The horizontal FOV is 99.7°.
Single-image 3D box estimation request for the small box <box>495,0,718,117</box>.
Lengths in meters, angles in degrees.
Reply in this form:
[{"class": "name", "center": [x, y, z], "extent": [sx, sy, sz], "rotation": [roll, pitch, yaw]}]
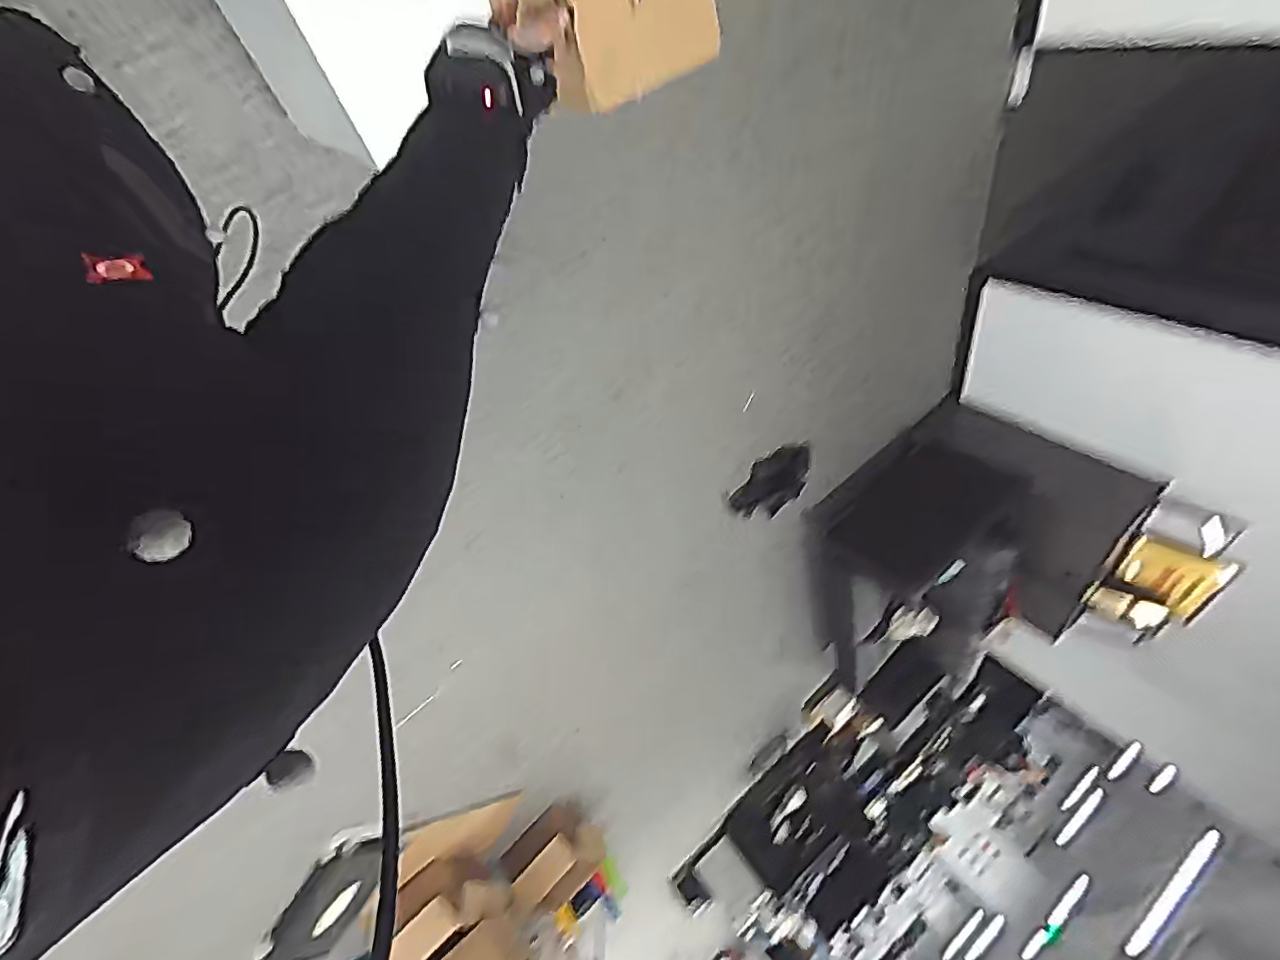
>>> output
[{"class": "small box", "center": [-0.046, -0.514, 0.576], "extent": [0.179, 0.176, 0.168], "rotation": [-37, 138, -15]}]
